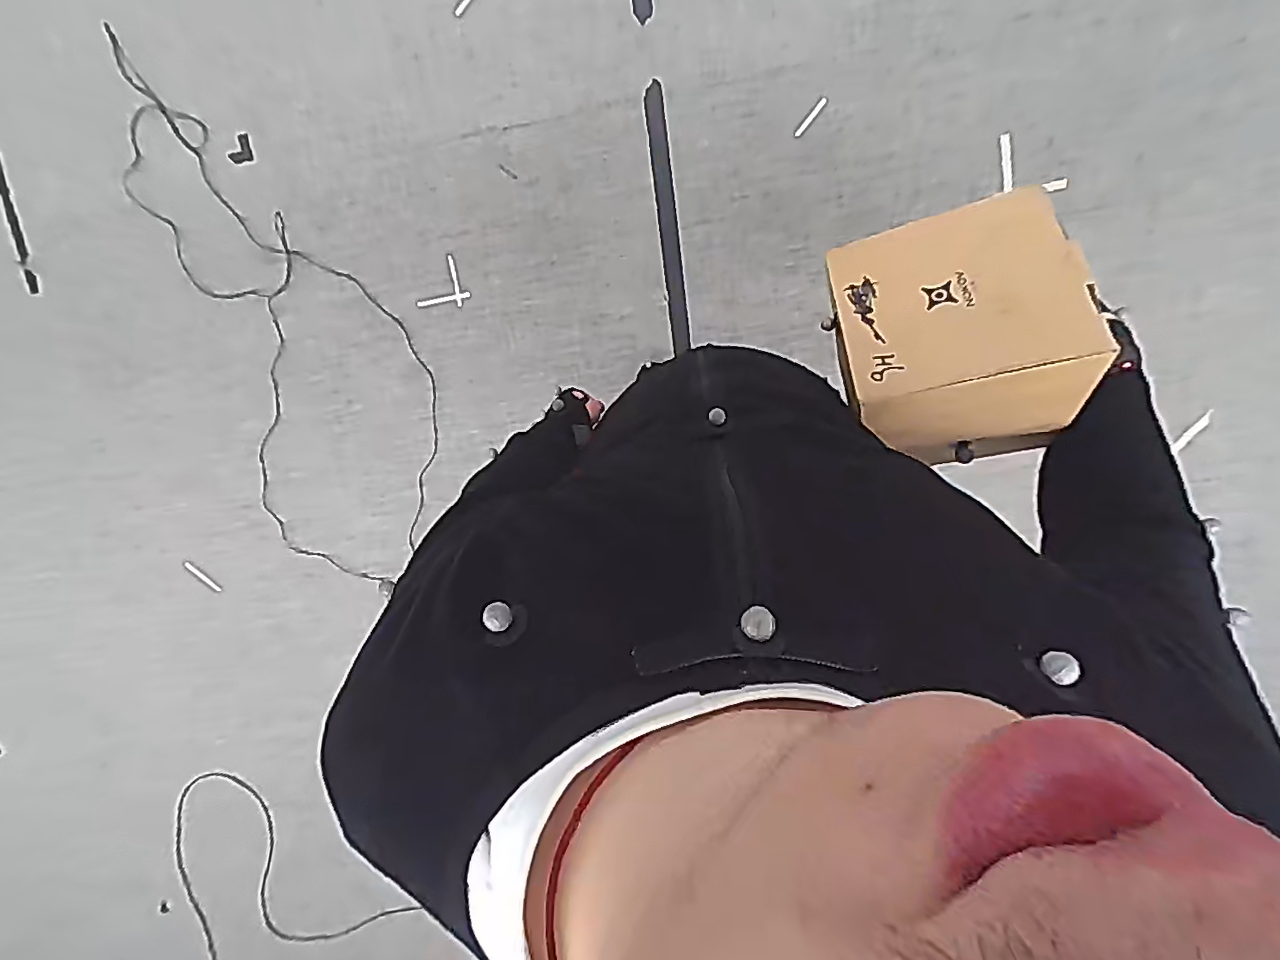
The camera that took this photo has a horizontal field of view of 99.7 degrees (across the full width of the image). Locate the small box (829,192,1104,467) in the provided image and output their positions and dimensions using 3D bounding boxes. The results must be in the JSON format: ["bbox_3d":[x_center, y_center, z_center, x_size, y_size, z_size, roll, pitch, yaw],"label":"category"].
[{"bbox_3d":[0.289,-0.128,0.523,0.179,0.176,0.168,-11,65,20],"label":"small box"}]
